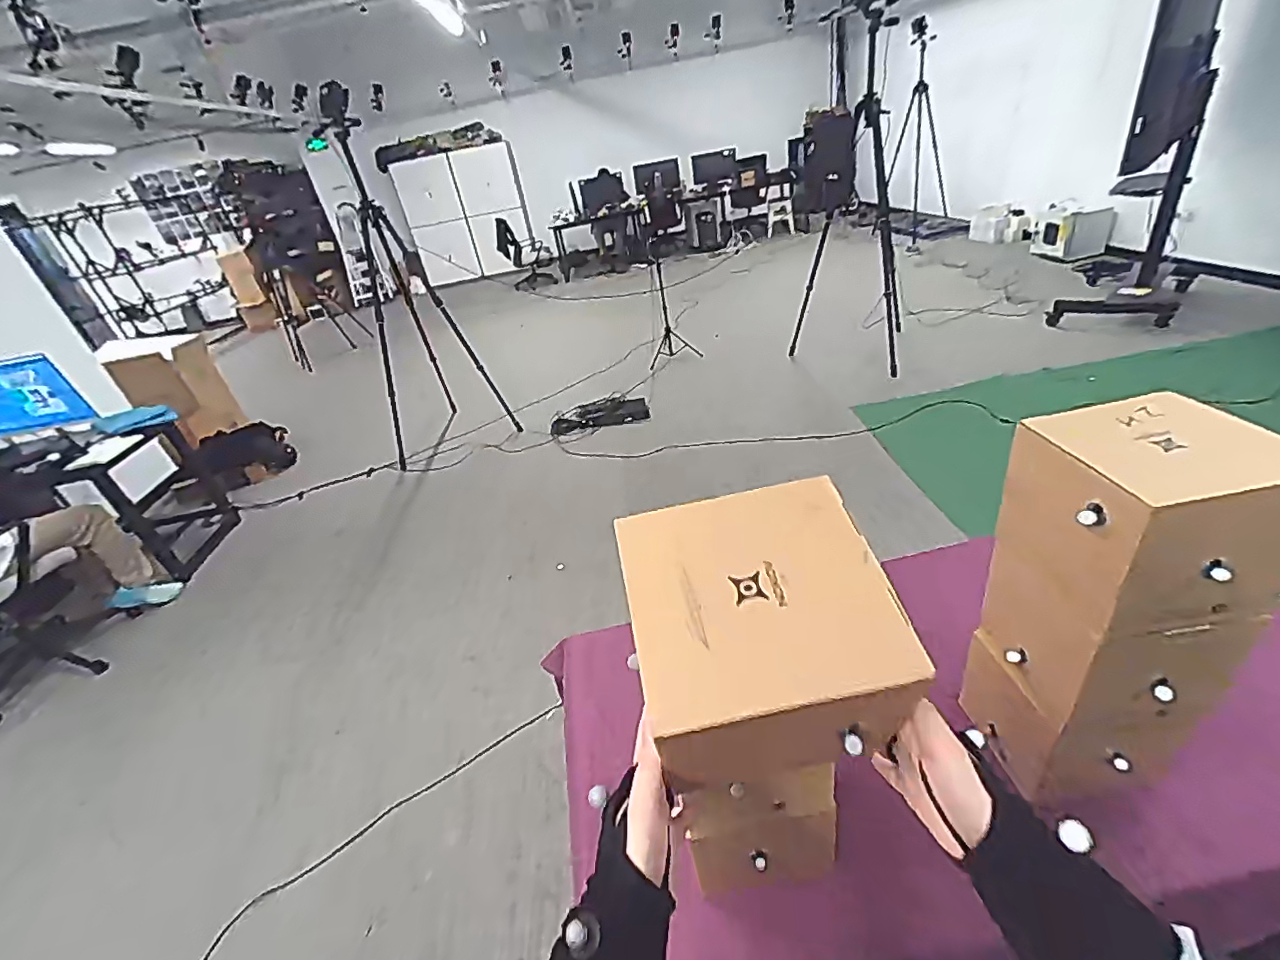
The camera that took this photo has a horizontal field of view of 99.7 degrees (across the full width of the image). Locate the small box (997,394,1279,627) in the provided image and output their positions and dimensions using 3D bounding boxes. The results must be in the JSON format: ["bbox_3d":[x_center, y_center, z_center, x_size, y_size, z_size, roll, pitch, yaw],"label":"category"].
[{"bbox_3d":[0.514,0.034,0.563,0.168,0.176,0.179,-10,31,2],"label":"small box"}]

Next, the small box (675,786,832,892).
[{"bbox_3d":[0.138,0.408,0.720,0.179,0.176,0.168,-12,32,0],"label":"small box"}]

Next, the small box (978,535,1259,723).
[{"bbox_3d":[0.545,0.170,0.651,0.168,0.176,0.179,-10,33,4],"label":"small box"}]

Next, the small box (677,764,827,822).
[{"bbox_3d":[0.112,0.271,0.636,0.168,0.176,0.179,-11,31,1],"label":"small box"}]

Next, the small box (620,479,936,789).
[{"bbox_3d":[0.089,0.126,0.428,0.179,0.176,0.168,-11,50,0],"label":"small box"}]
